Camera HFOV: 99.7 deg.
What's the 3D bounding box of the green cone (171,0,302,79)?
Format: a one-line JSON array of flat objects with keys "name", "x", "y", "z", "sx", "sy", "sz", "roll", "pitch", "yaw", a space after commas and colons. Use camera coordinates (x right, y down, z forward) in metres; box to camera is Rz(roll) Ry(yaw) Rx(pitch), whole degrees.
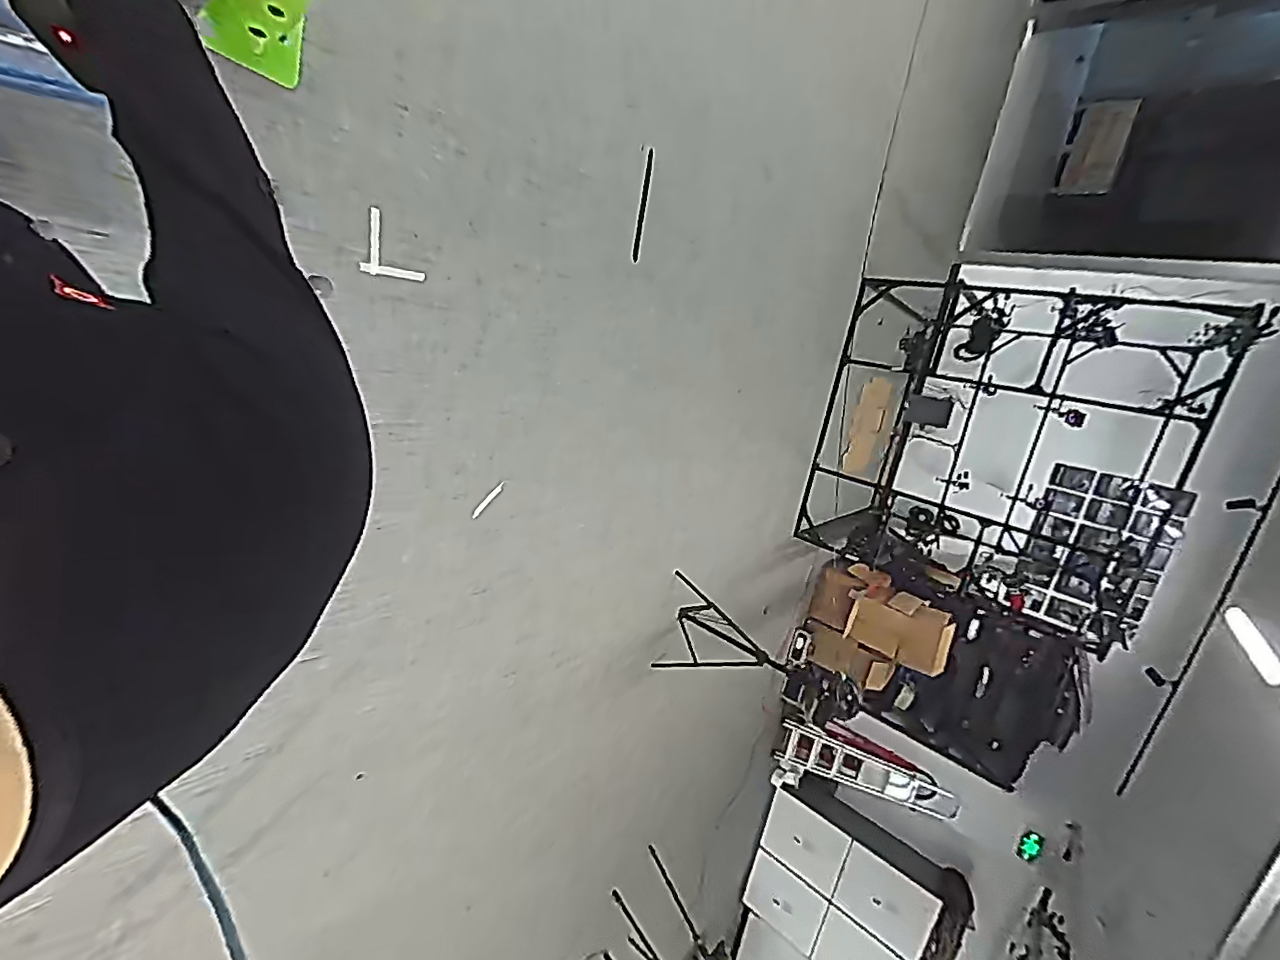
[{"name": "green cone", "x": -0.655, "y": -0.888, "z": 0.962, "sx": 0.202, "sy": 0.368, "sz": 0.200, "roll": -2, "pitch": 109, "yaw": -53}]
